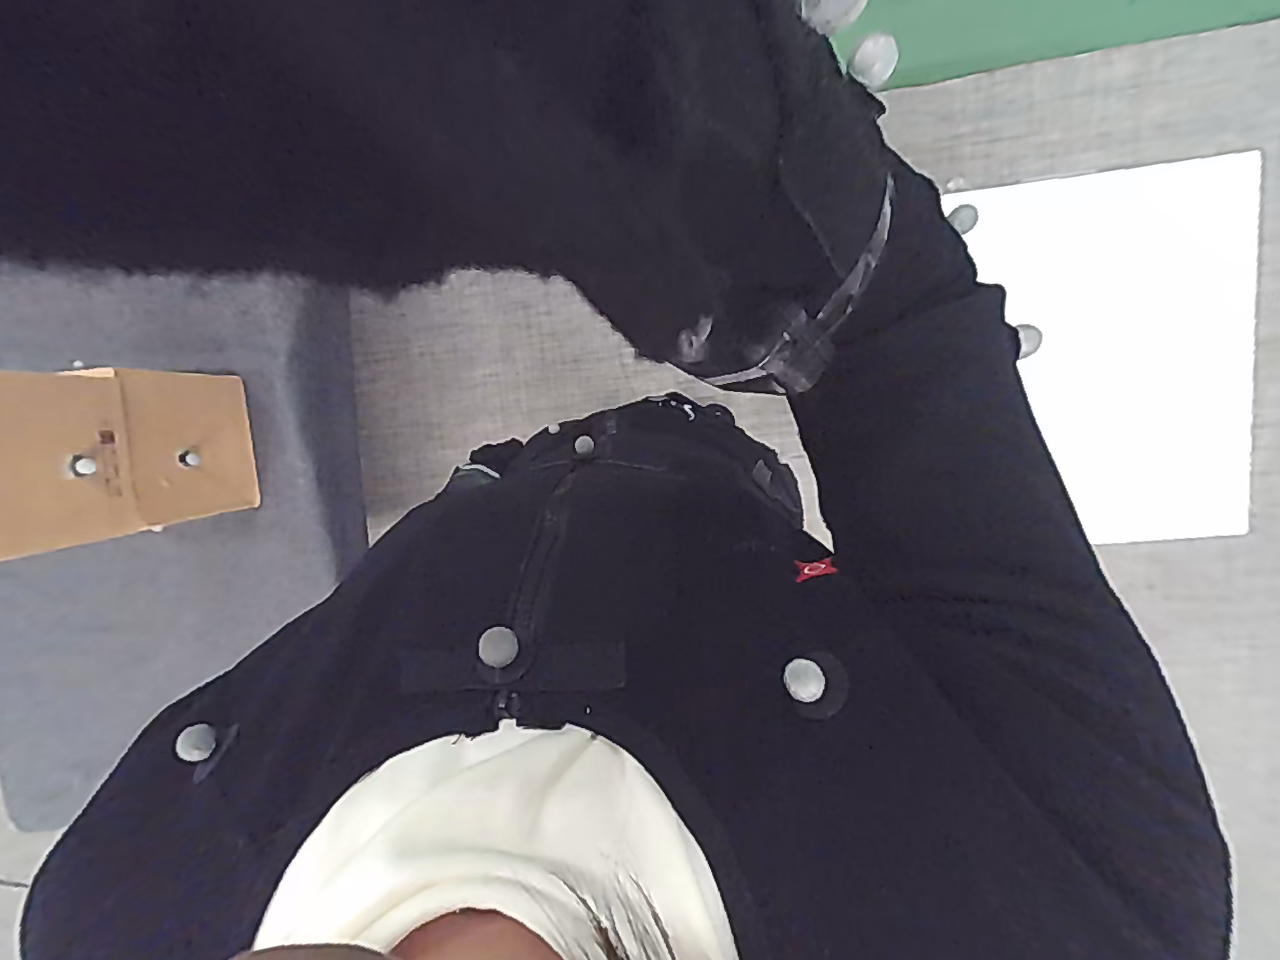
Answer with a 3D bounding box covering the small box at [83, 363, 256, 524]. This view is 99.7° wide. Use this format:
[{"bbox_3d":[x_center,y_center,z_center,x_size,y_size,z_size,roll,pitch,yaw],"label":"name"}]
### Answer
[{"bbox_3d":[-0.617,-0.048,0.668,0.168,0.176,0.179,-3,98,7],"label":"small box"}]
